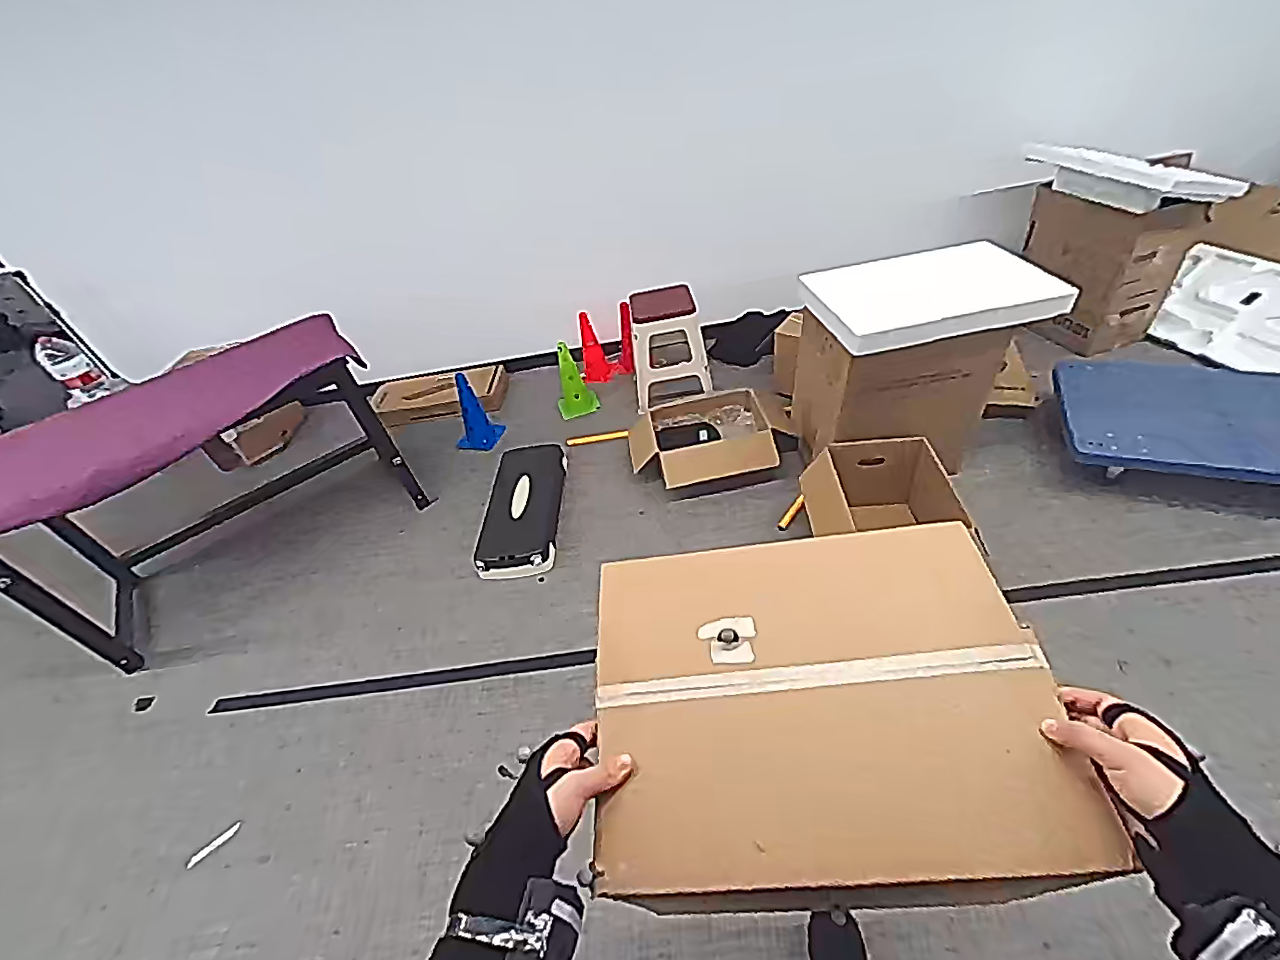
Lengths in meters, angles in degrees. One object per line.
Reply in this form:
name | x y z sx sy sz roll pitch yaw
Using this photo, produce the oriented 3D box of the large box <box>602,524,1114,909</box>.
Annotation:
large box | 0.189 0.289 0.633 0.408 0.320 0.320 -9 47 8
